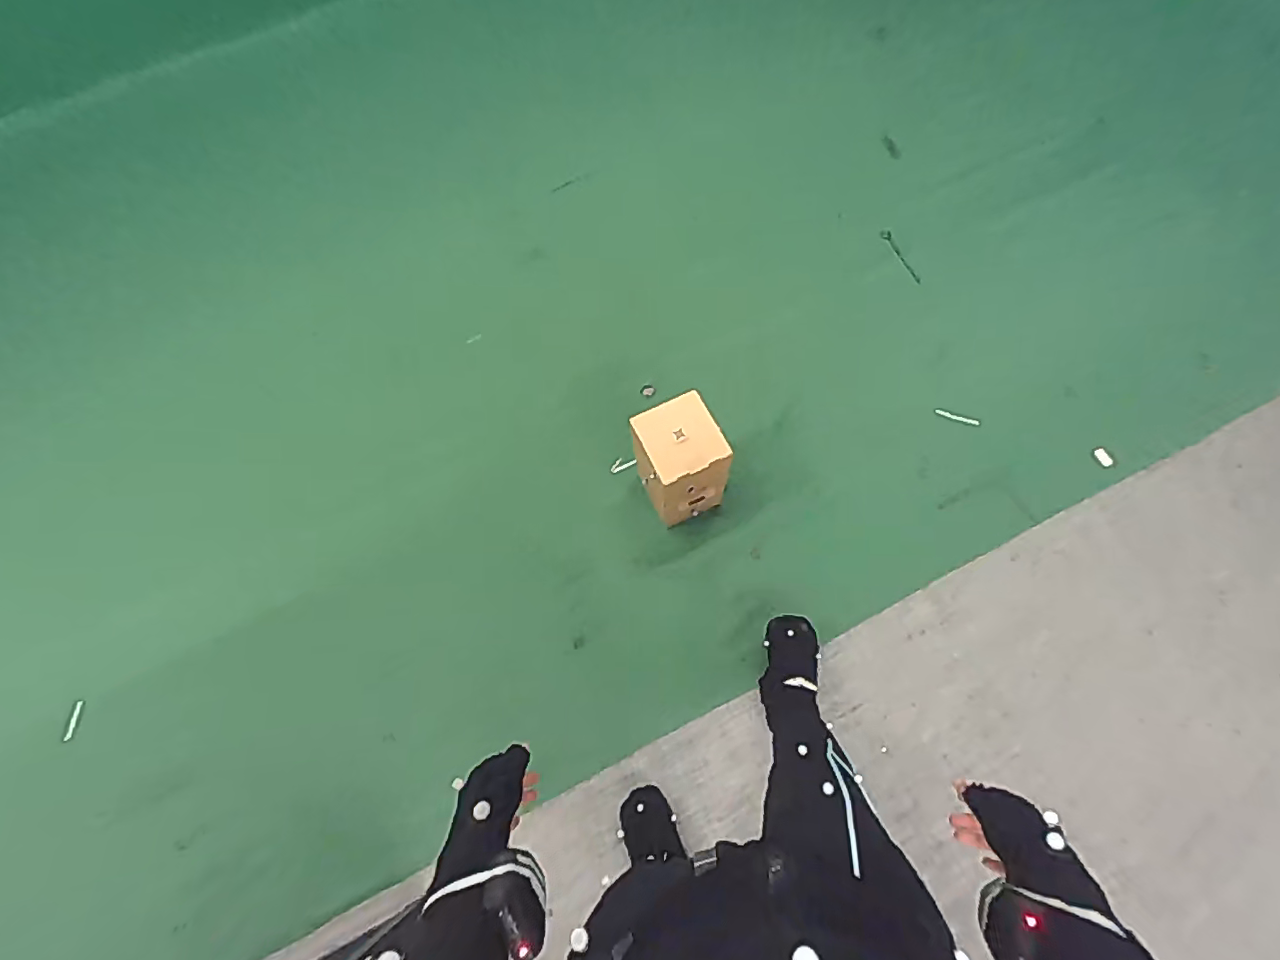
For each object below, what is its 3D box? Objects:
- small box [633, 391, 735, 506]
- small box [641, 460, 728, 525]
[{"bbox_3d":[0.096,-0.066,1.236,0.168,0.176,0.179,-26,70,-6],"label":"small box"},{"bbox_3d":[0.106,-0.008,1.388,0.168,0.176,0.179,-24,70,-5],"label":"small box"}]
